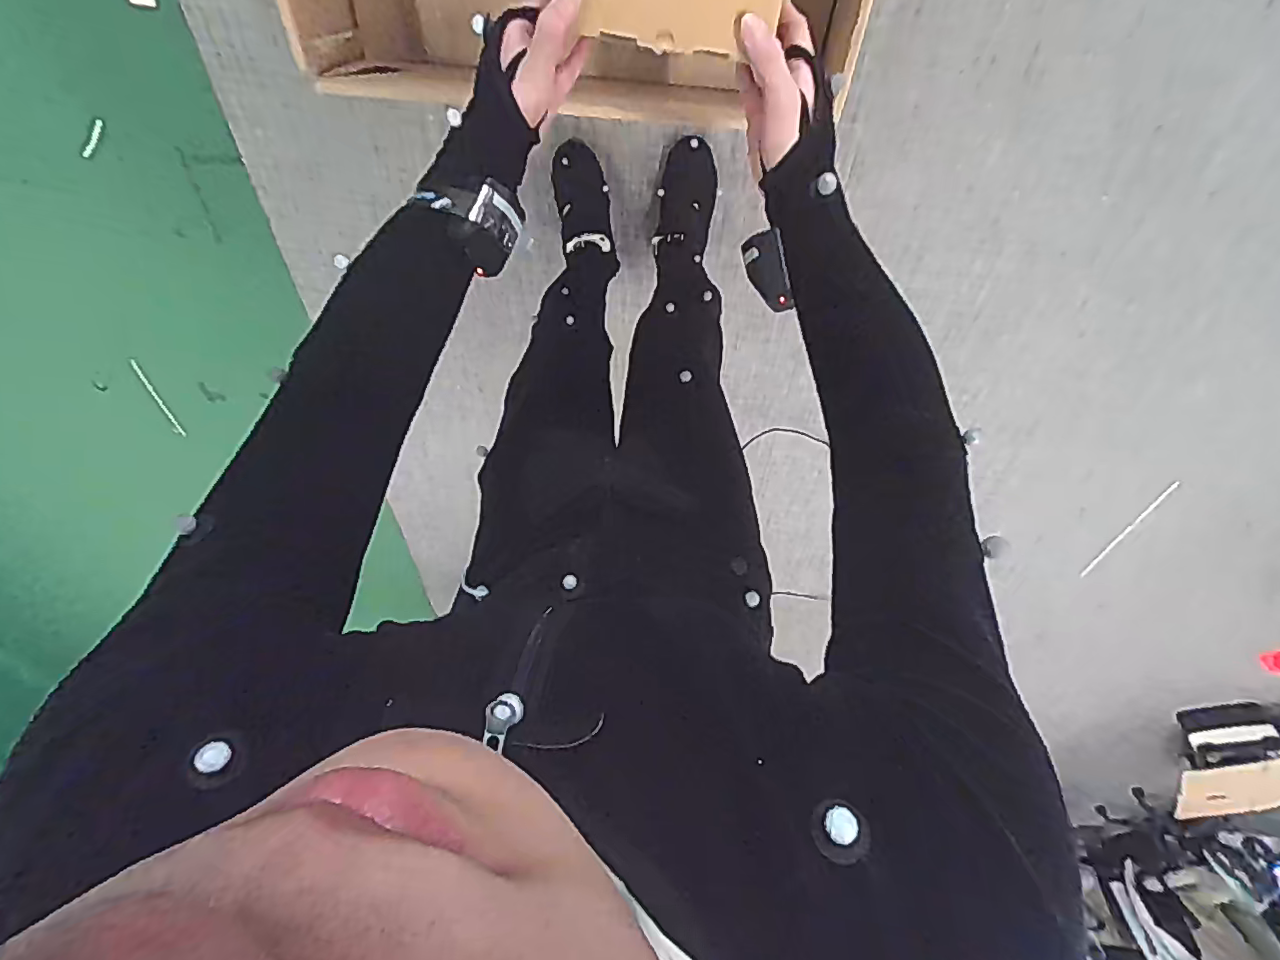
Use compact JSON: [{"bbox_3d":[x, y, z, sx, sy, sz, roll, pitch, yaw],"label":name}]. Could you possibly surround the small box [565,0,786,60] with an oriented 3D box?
[{"bbox_3d":[0.040,-0.456,0.419,0.168,0.176,0.179,9,133,-1],"label":"small box"}]
